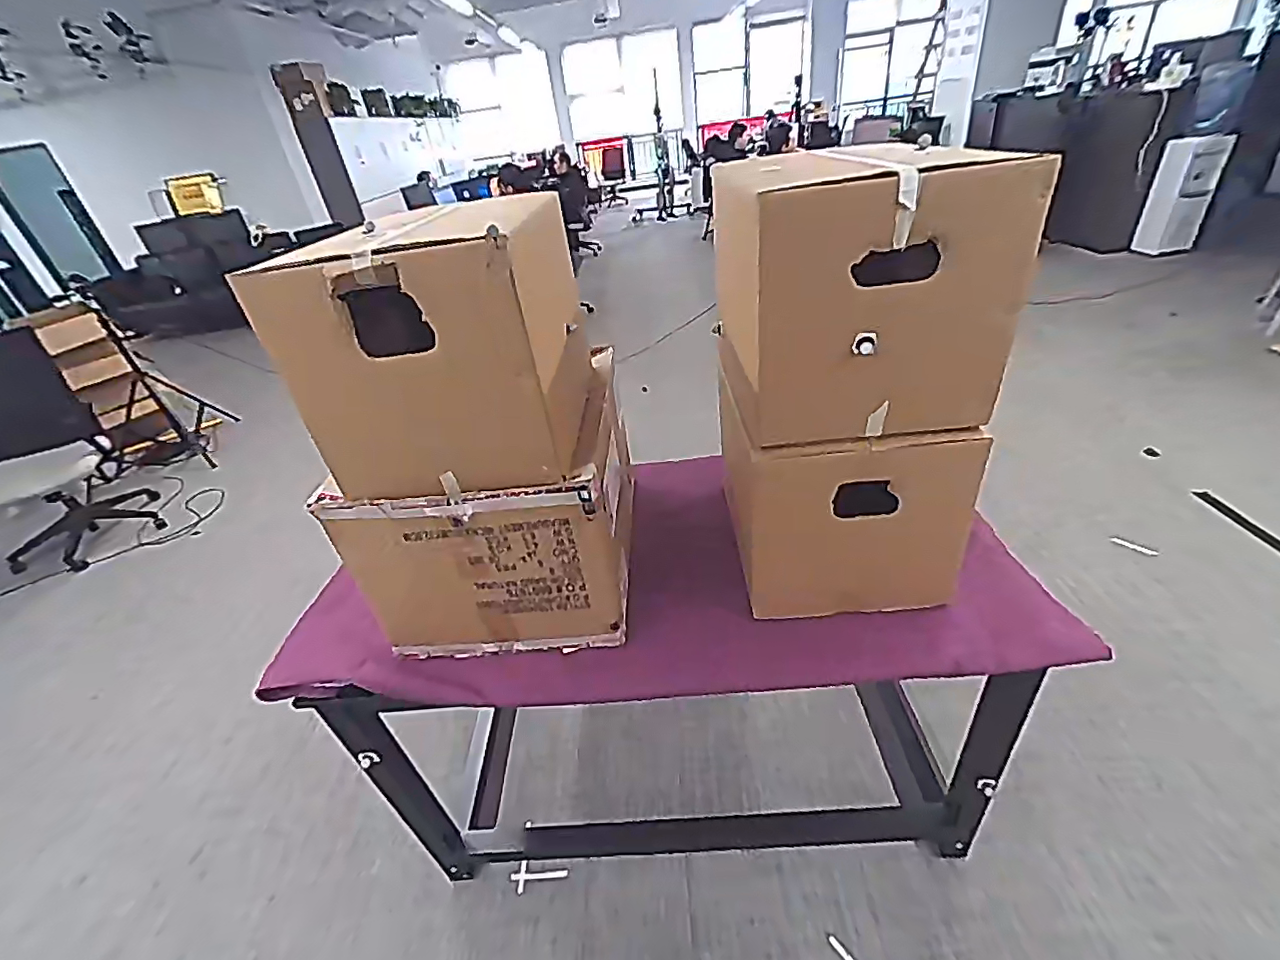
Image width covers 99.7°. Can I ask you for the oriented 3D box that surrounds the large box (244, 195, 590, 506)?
[{"bbox_3d":[-0.258,-0.213,0.809,0.320,0.320,0.408,-8,34,5],"label":"large box"}]
